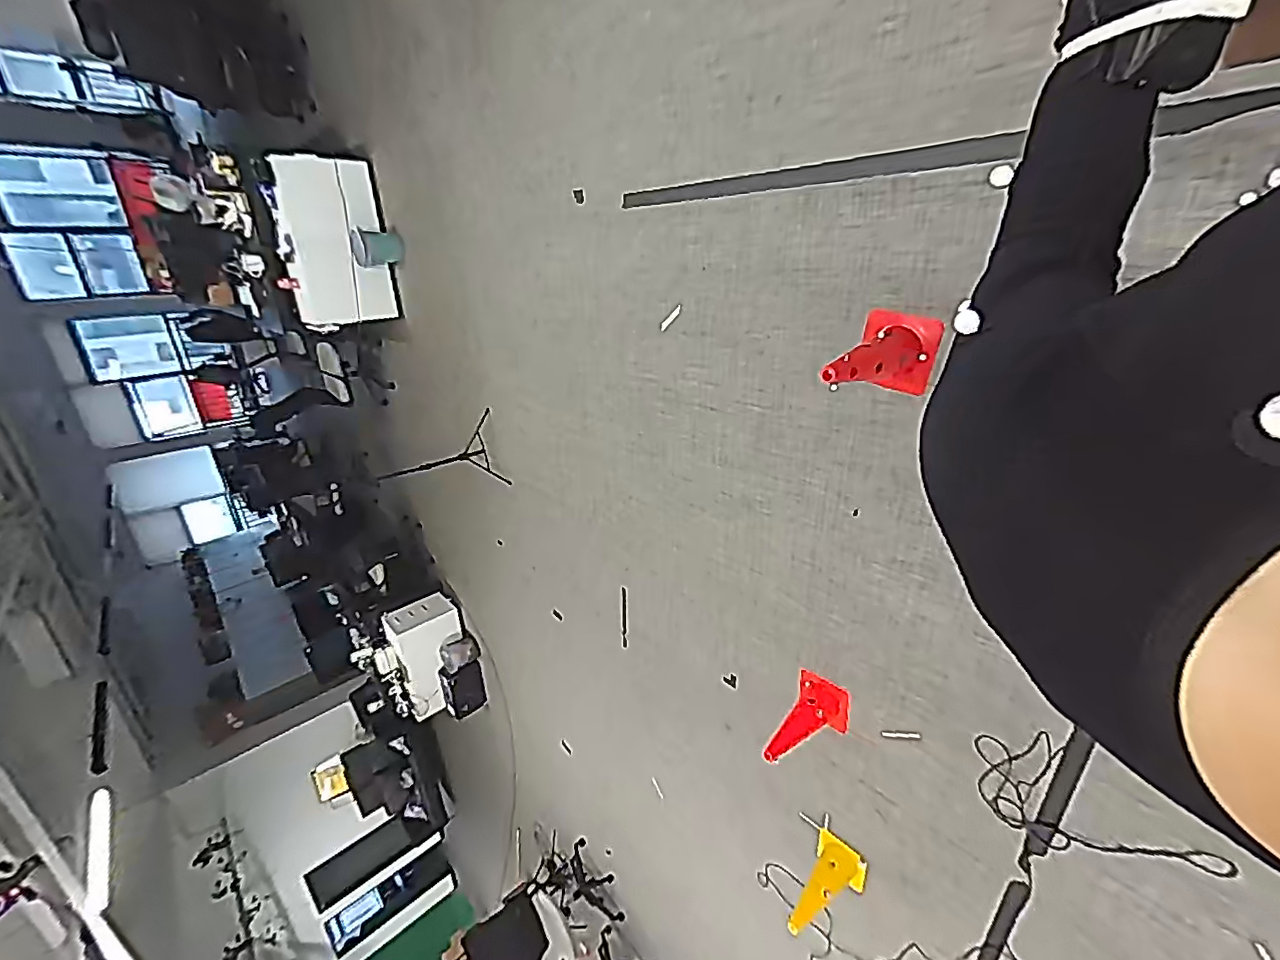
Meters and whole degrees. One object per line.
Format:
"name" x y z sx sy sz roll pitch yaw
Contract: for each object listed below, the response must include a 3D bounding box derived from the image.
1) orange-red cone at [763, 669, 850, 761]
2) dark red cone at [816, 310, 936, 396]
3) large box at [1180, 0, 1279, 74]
"orange-red cone" 0.559 0.873 1.915 0.198 0.360 0.199 20 123 46
"dark red cone" 0.549 -0.292 1.337 0.201 0.394 0.202 28 127 39
"large box" 0.574 -0.447 0.247 0.408 0.320 0.320 18 123 44
